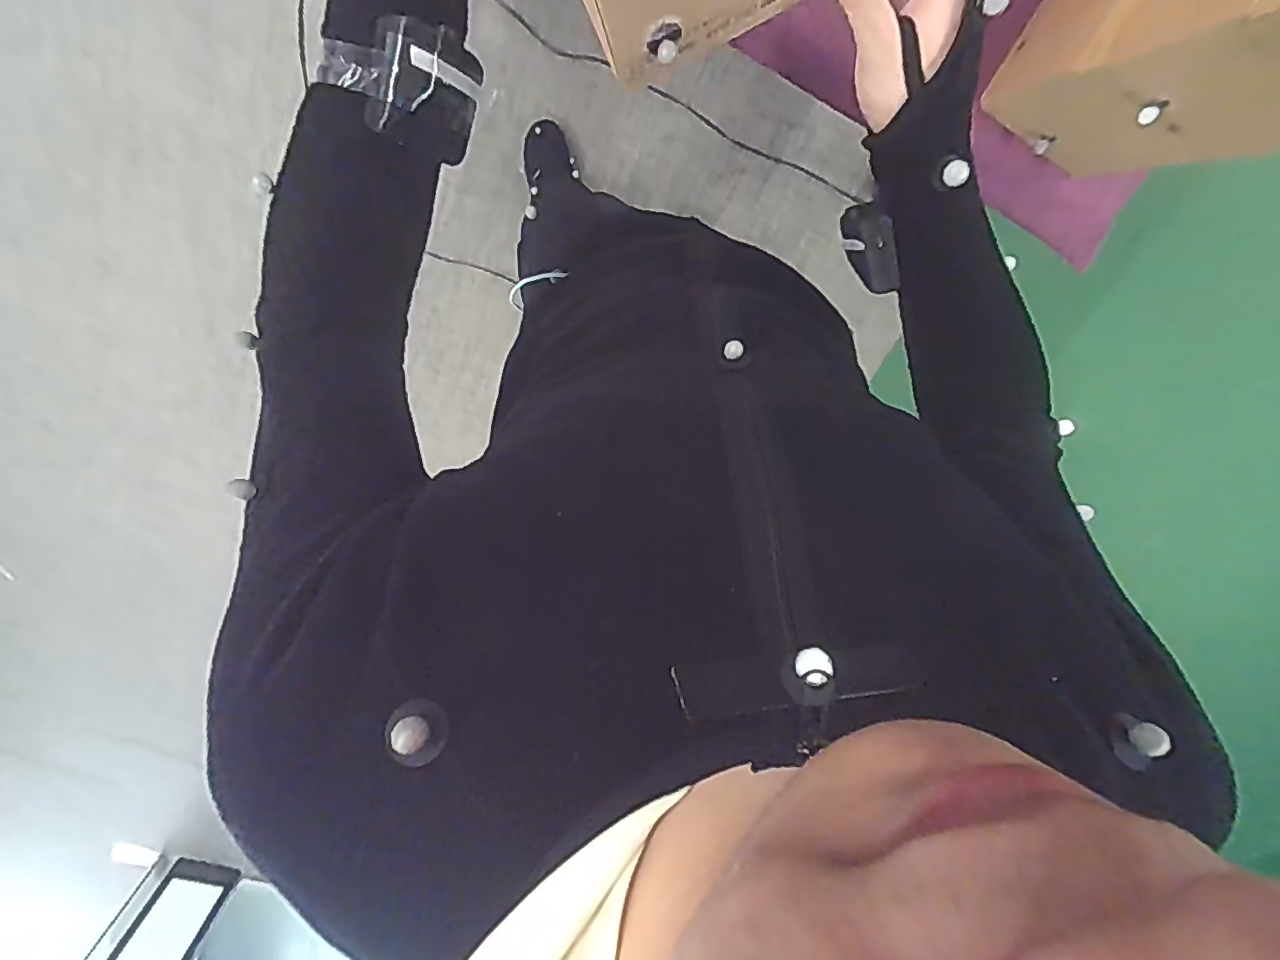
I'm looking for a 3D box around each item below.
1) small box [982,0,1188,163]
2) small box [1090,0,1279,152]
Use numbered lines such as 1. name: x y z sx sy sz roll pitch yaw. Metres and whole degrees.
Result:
1. small box: 0.534 -0.474 0.591 0.179 0.176 0.168 26 112 -12
2. small box: 0.540 -0.406 0.442 0.168 0.176 0.179 26 112 -11
